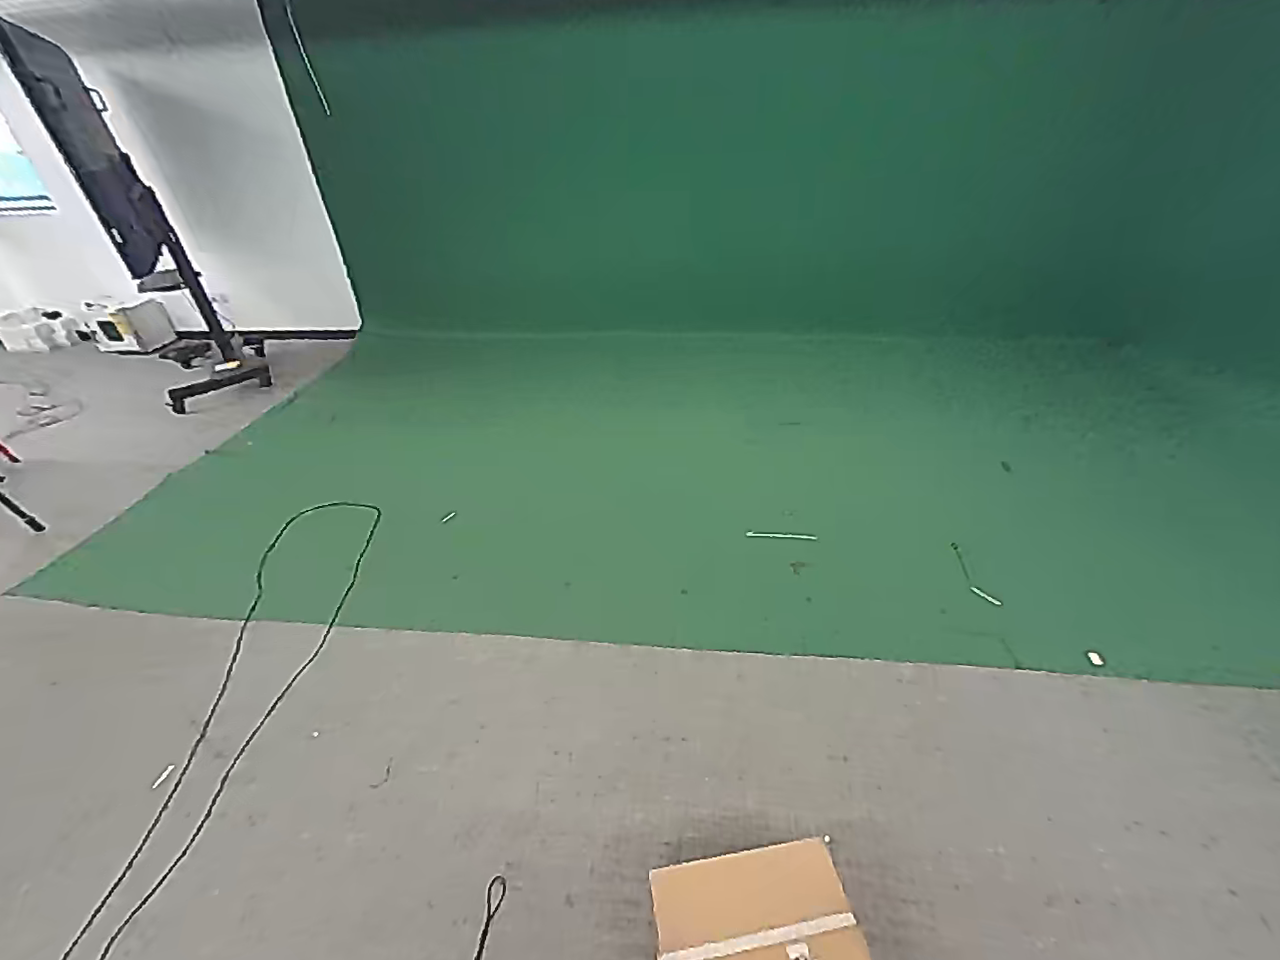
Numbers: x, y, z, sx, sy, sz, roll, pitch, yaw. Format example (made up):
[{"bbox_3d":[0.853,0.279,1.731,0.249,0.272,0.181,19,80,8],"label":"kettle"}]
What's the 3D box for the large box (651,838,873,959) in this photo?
[{"bbox_3d":[0.249,1.041,1.155,0.408,0.320,0.320,-7,35,-6],"label":"large box"}]
